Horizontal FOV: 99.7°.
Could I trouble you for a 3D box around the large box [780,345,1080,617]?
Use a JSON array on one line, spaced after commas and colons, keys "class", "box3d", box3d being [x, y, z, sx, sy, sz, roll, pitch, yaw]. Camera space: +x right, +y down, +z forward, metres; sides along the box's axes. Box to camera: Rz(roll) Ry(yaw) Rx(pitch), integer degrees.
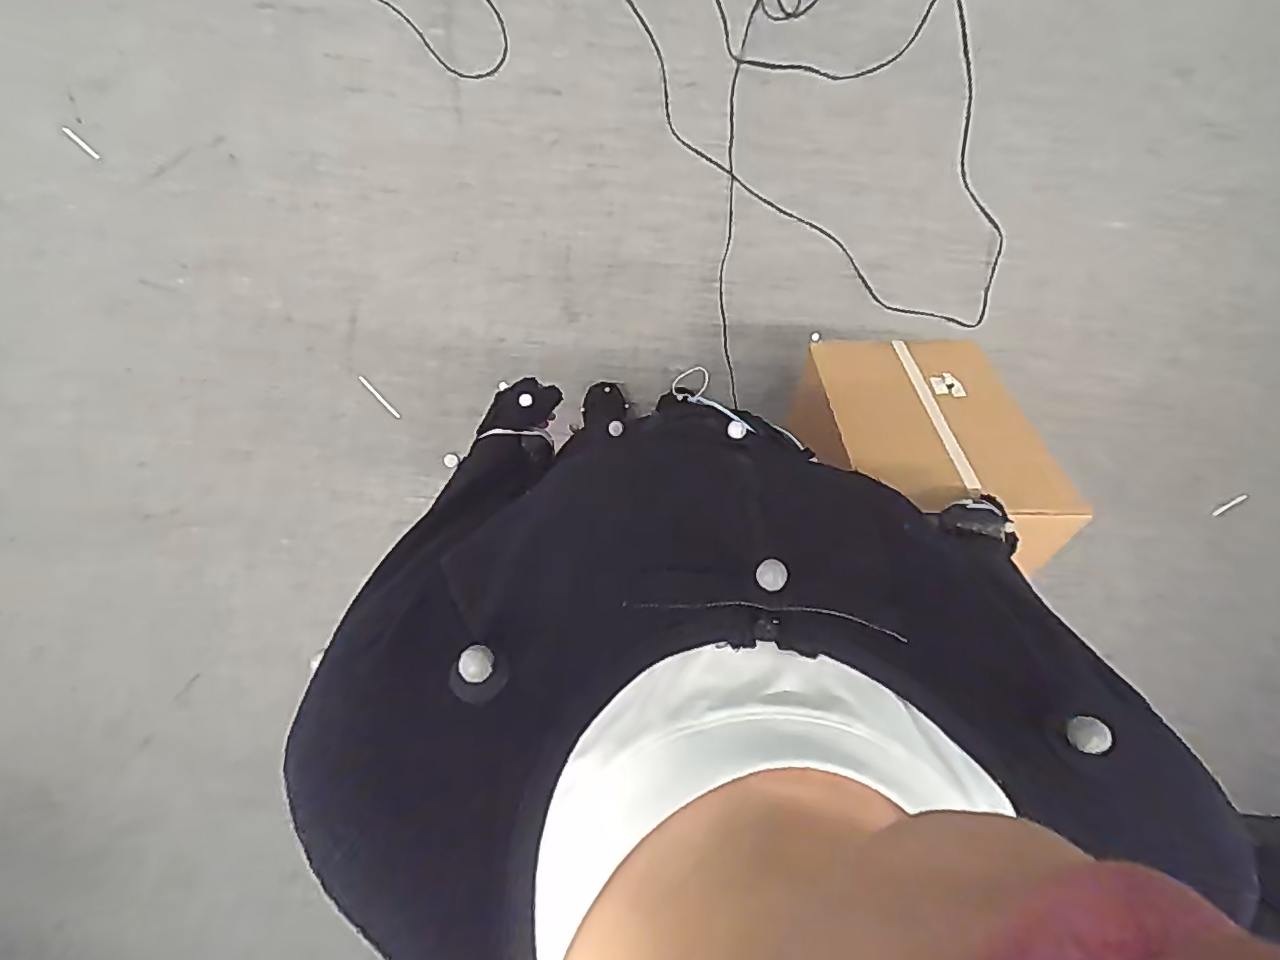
[{"class": "large box", "box3d": [0.466, 0.000, 0.994, 0.320, 0.408, 0.320, 0, 139, 0]}]
